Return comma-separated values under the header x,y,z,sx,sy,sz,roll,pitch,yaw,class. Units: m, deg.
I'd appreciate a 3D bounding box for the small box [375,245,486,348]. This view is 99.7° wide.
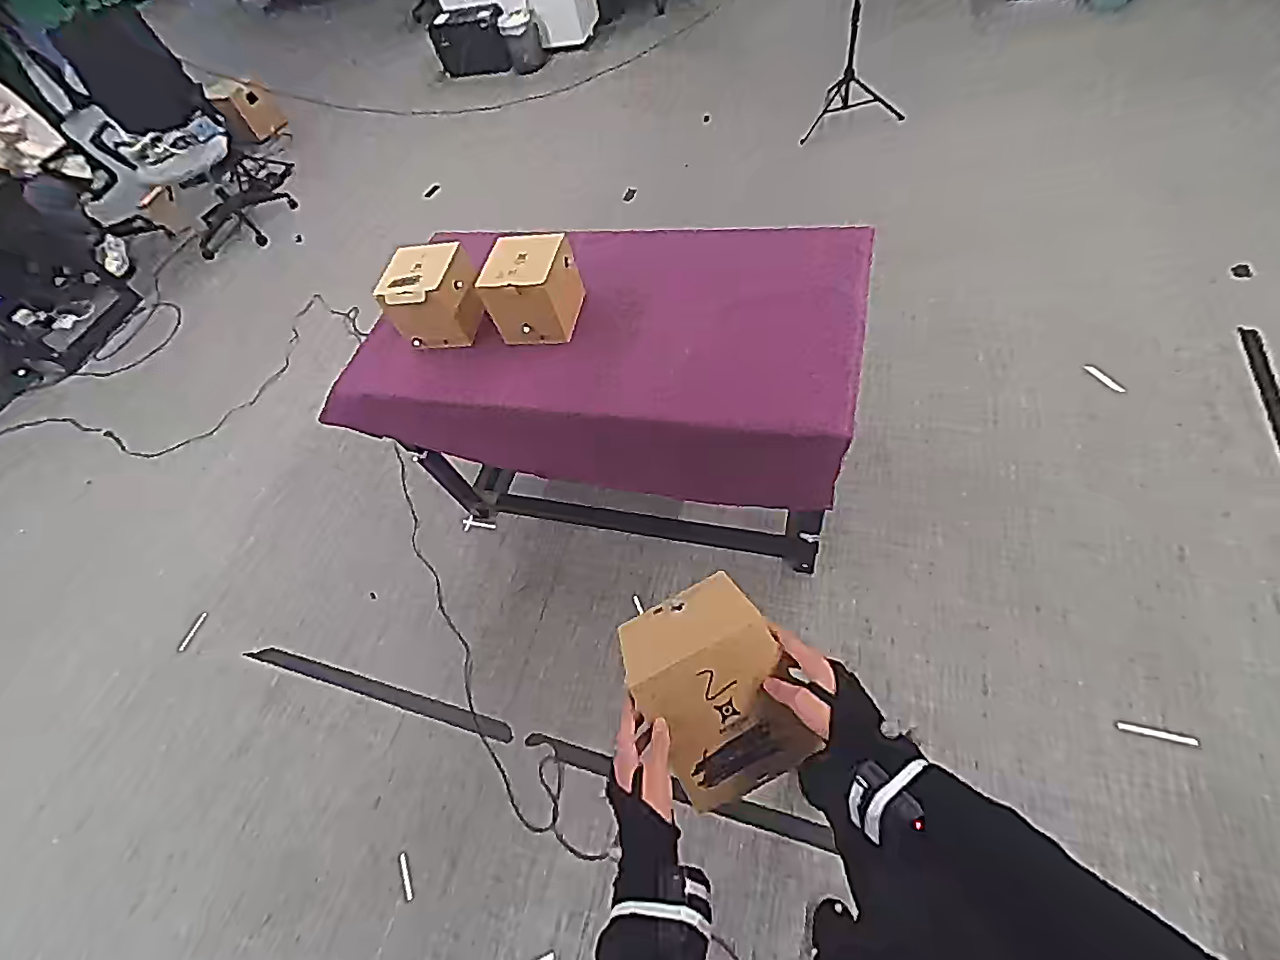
x,y,z,sx,sy,sz,roll,pitch,yaw,class
-0.495,-0.436,1.310,0.168,0.176,0.179,0,58,13,small box

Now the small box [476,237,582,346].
x,y,z,sx,sy,sz,roll,pitch,yaw,class
-0.245,-0.433,1.250,0.168,0.176,0.179,3,60,16,small box
